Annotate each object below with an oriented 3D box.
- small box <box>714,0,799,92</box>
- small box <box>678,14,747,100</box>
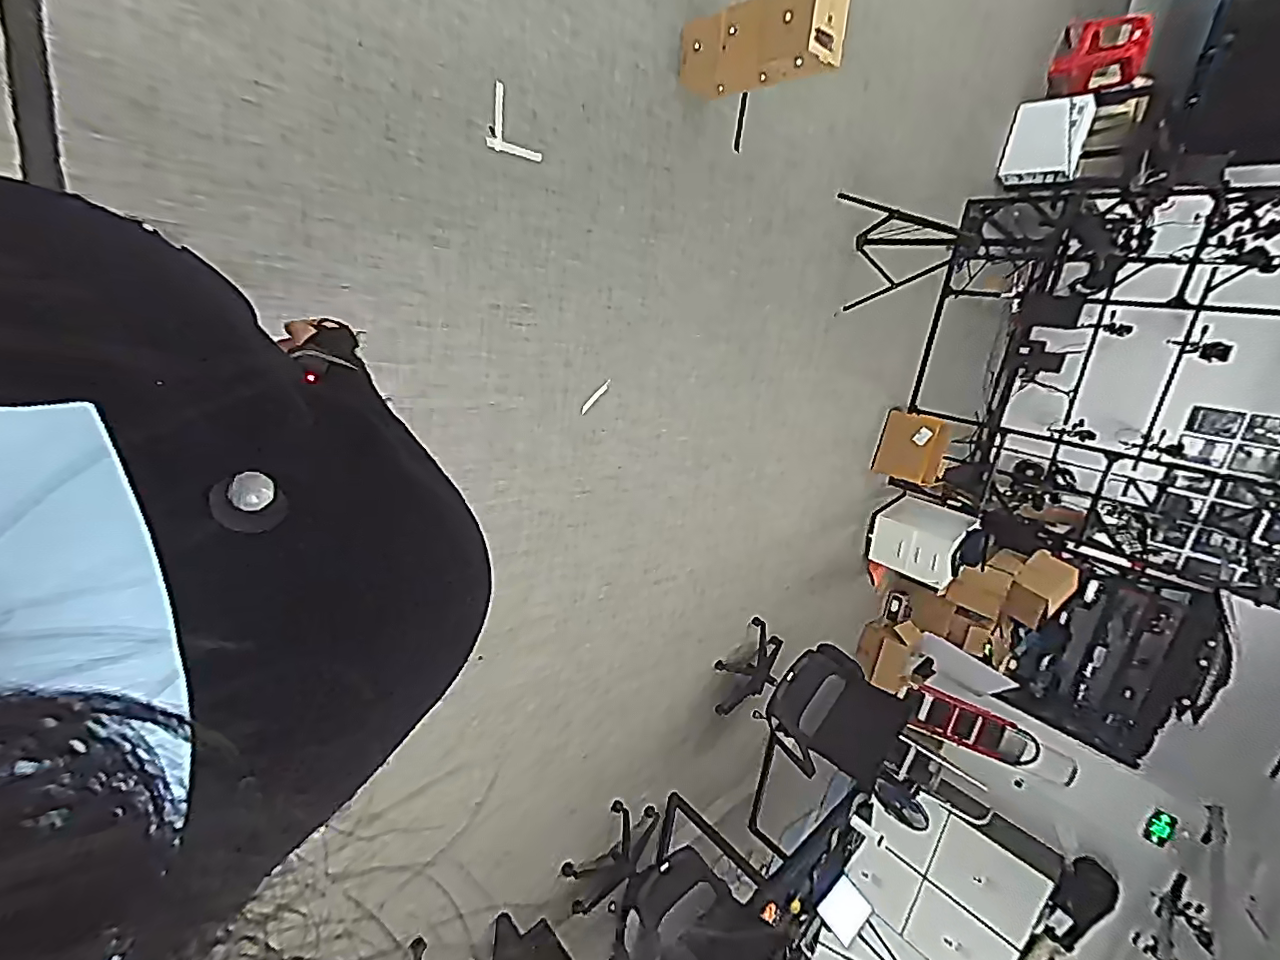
[{"bbox_3d":[0.355,-1.319,1.656,0.179,0.176,0.168,-11,115,-42],"label":"small box"},{"bbox_3d":[0.244,-1.368,1.764,0.179,0.176,0.168,-13,117,-42],"label":"small box"}]
